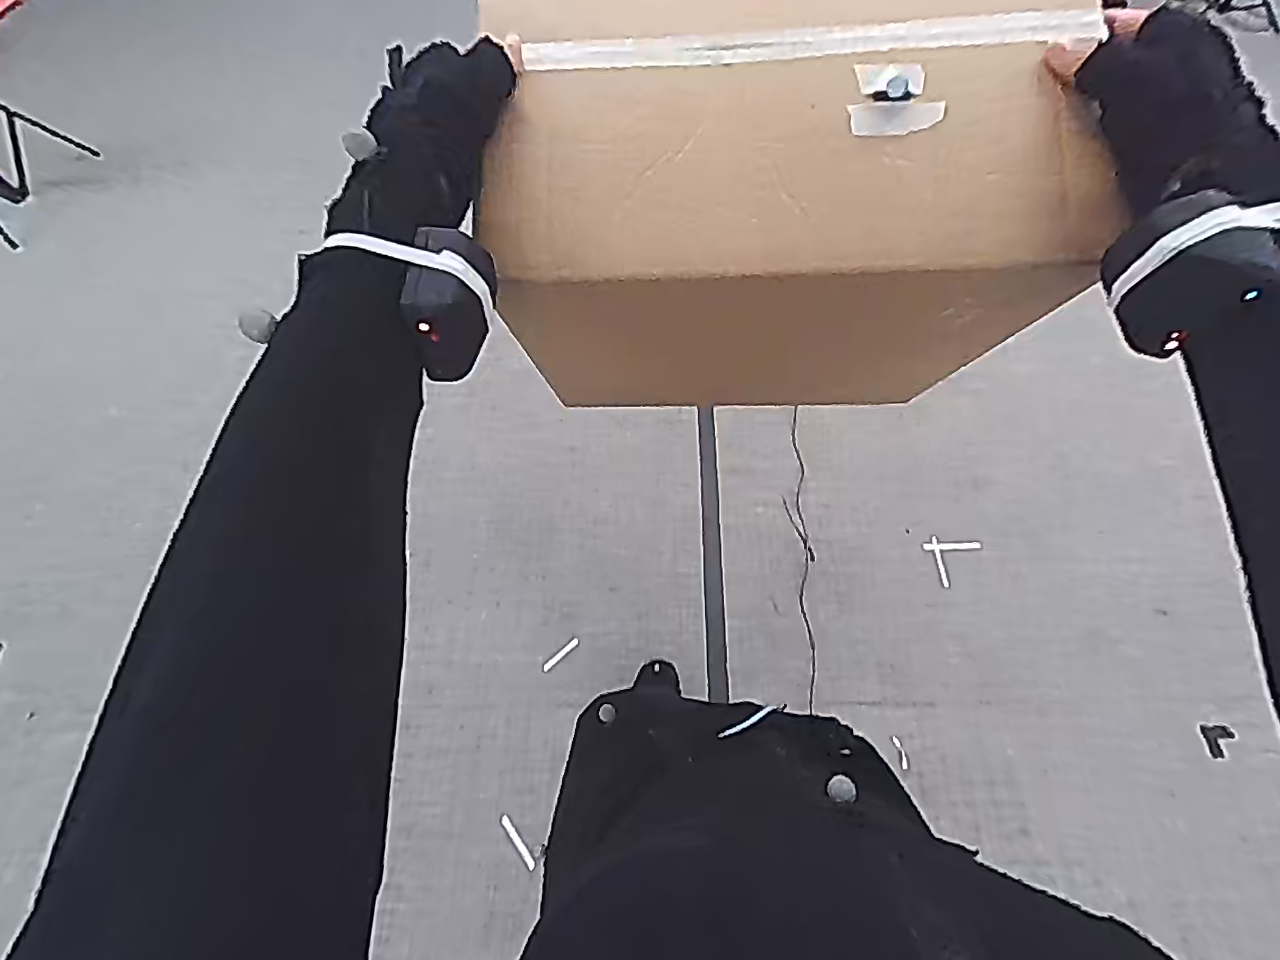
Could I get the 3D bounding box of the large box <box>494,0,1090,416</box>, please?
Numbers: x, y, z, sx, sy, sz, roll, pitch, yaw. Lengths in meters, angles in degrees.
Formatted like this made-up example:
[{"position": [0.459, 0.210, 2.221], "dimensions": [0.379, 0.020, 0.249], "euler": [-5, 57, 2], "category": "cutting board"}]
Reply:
[{"position": [0.099, -0.256, 0.529], "dimensions": [0.408, 0.320, 0.320], "euler": [-1, 82, 3], "category": "large box"}]
